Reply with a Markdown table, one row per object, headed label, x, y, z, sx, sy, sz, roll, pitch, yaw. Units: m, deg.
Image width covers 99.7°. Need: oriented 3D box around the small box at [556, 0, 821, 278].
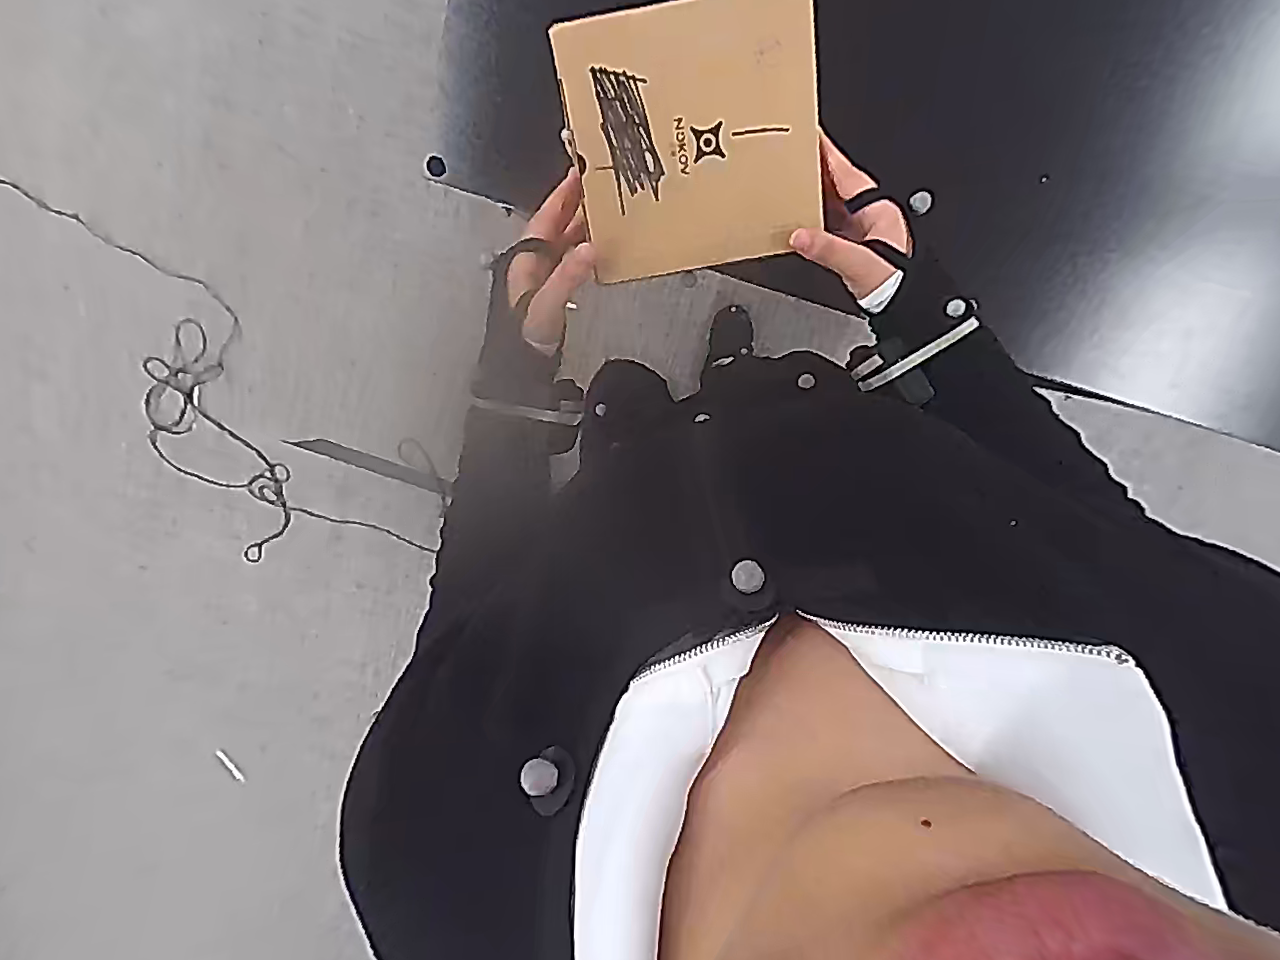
| label | x | y | z | sx | sy | sz | roll | pitch | yaw |
| --- | --- | --- | --- | --- | --- | --- | --- | --- | --- |
| small box | 0.038 | -0.270 | 0.460 | 0.179 | 0.176 | 0.168 | -9 | 111 | 1 |
